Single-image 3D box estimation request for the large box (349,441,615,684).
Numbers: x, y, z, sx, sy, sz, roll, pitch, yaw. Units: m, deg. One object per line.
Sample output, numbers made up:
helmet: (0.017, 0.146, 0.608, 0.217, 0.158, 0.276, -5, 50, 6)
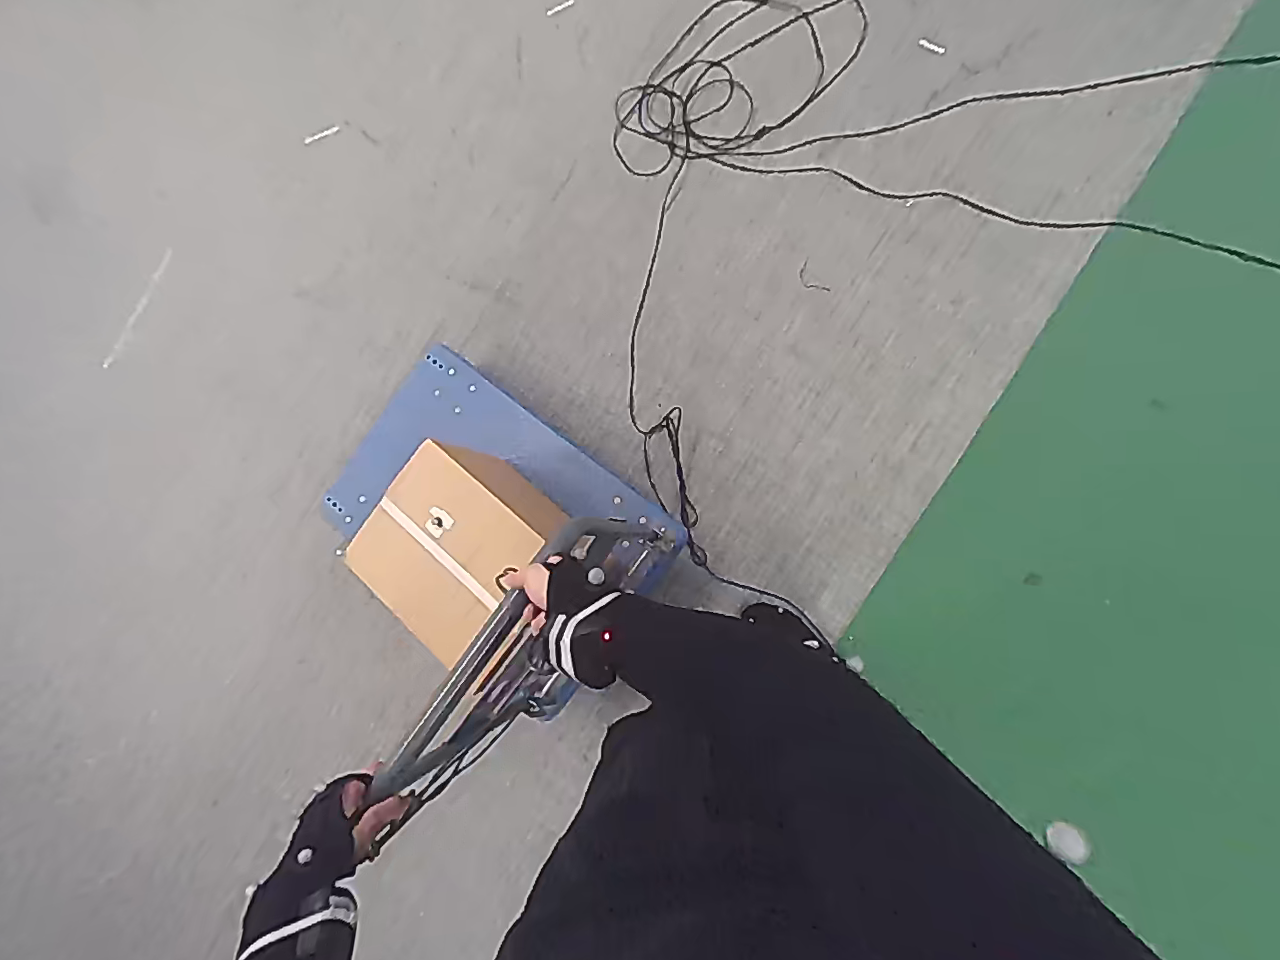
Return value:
large box: (-0.329, 0.171, 1.205, 0.408, 0.320, 0.320, 39, 93, 15)
